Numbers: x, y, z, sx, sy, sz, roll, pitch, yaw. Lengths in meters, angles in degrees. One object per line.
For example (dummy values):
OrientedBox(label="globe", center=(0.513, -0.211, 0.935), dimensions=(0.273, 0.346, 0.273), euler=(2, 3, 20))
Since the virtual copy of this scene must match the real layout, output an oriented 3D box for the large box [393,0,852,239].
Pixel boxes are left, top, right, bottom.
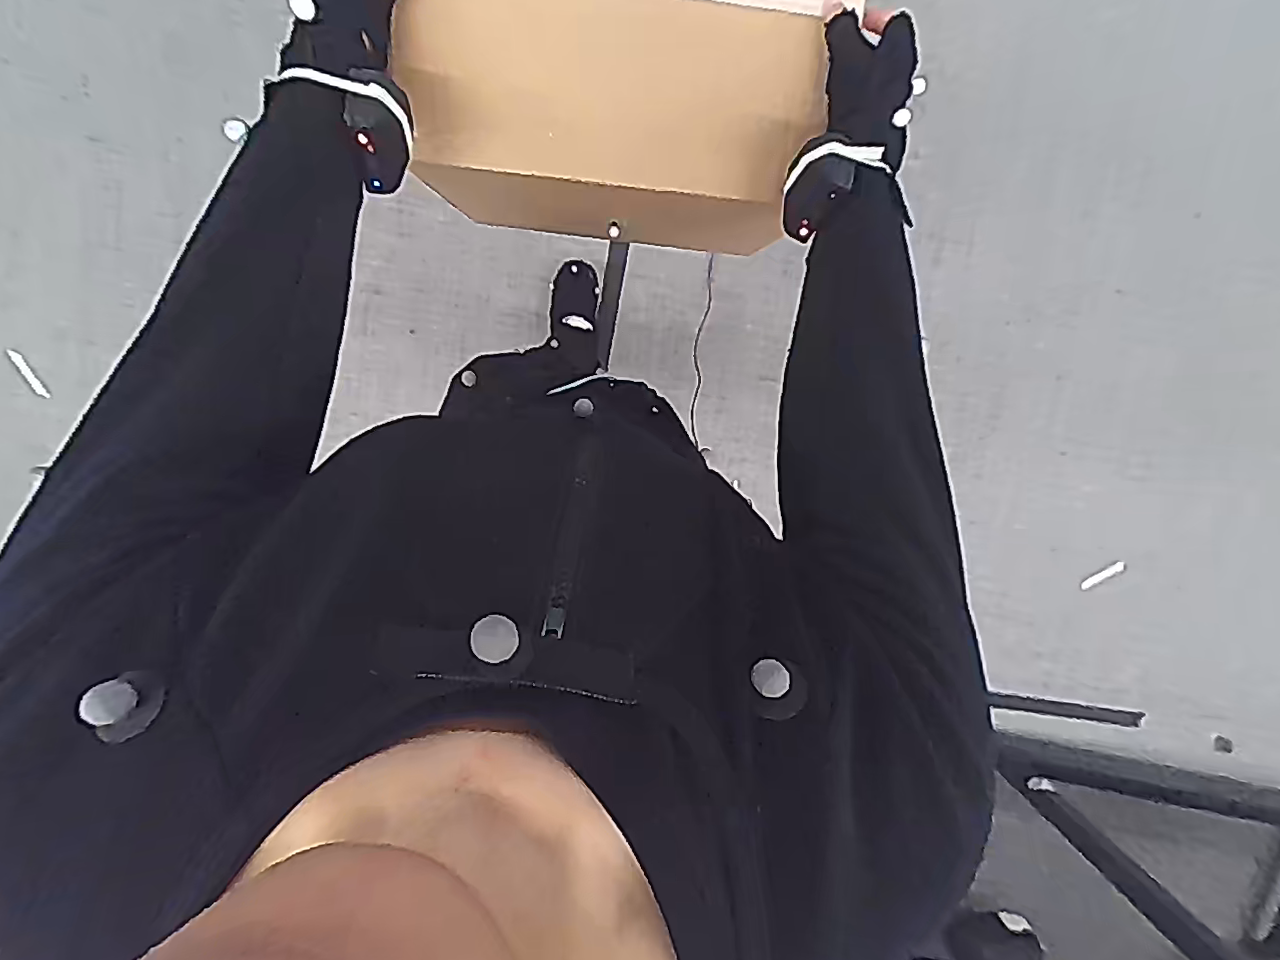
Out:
OrientedBox(label="large box", center=(-0.014, -0.471, 0.607), dimensions=(0.408, 0.320, 0.320), euler=(5, 104, -3))
